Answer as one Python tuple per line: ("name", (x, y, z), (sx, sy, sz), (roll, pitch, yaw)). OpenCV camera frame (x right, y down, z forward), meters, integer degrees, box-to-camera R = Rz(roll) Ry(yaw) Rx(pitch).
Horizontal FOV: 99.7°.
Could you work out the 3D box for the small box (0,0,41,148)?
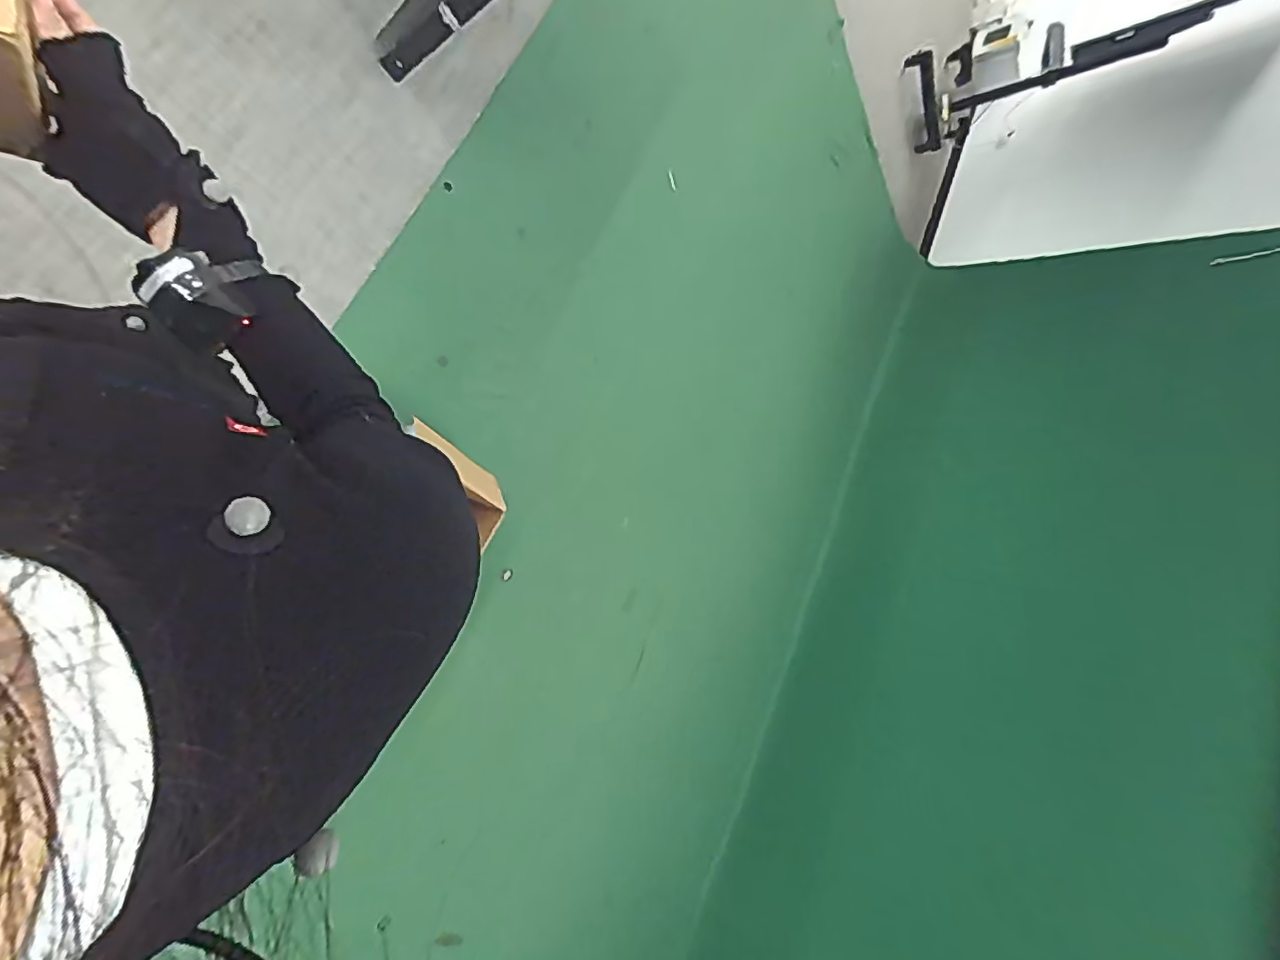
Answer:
("small box", (-0.457, -0.327, 0.294), (0.168, 0.176, 0.179), (-3, 96, -44))
